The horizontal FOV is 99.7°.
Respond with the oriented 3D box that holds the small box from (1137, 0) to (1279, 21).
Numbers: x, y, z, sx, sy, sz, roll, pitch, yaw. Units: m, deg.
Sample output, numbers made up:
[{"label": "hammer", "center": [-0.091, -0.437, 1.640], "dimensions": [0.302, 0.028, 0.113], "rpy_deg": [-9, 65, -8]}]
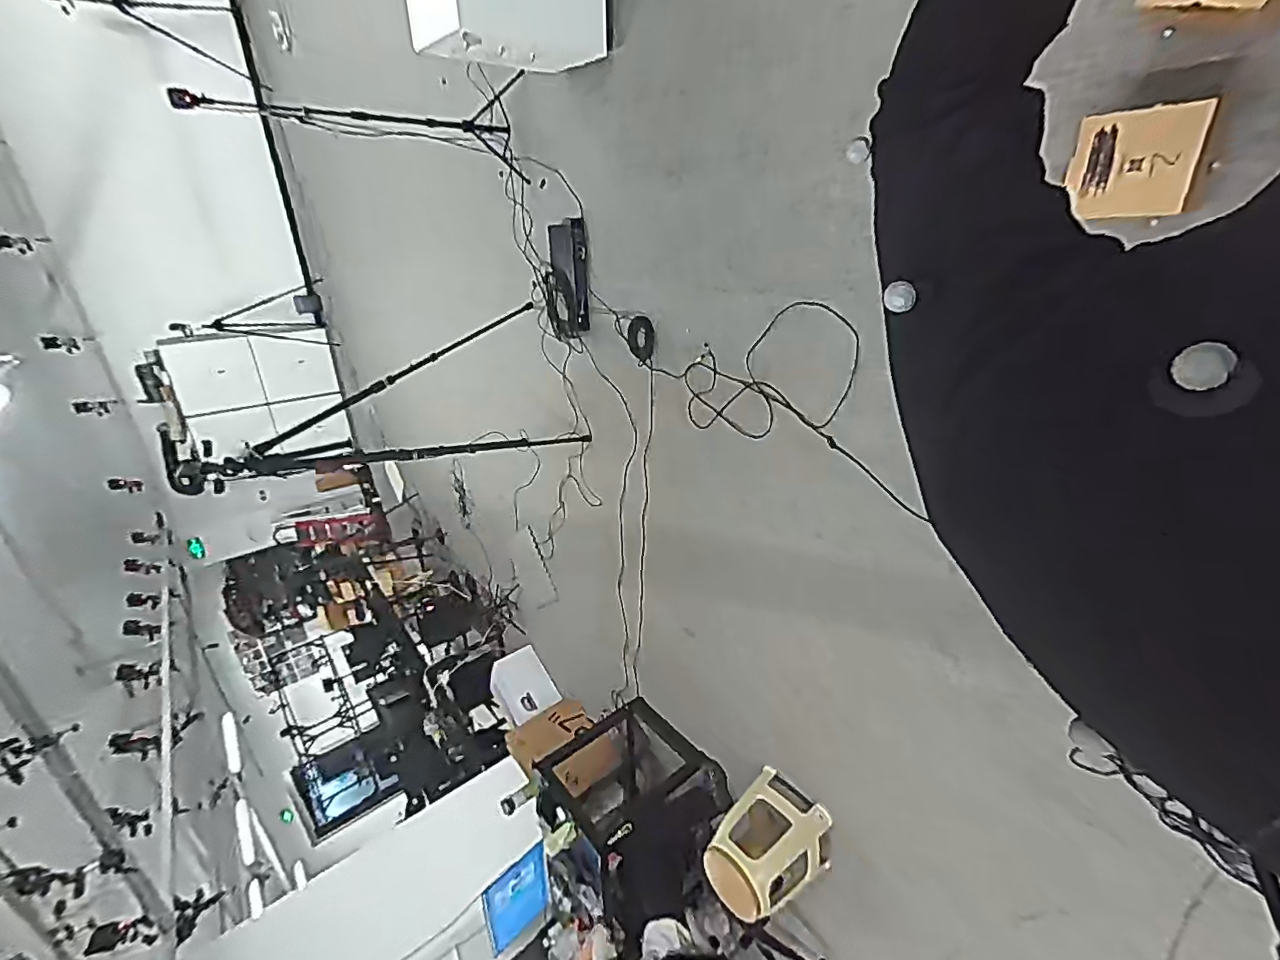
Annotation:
[{"label": "small box", "center": [0.923, -0.828, 0.824], "dimensions": [0.168, 0.176, 0.179], "rpy_deg": [40, 135, 35]}]
